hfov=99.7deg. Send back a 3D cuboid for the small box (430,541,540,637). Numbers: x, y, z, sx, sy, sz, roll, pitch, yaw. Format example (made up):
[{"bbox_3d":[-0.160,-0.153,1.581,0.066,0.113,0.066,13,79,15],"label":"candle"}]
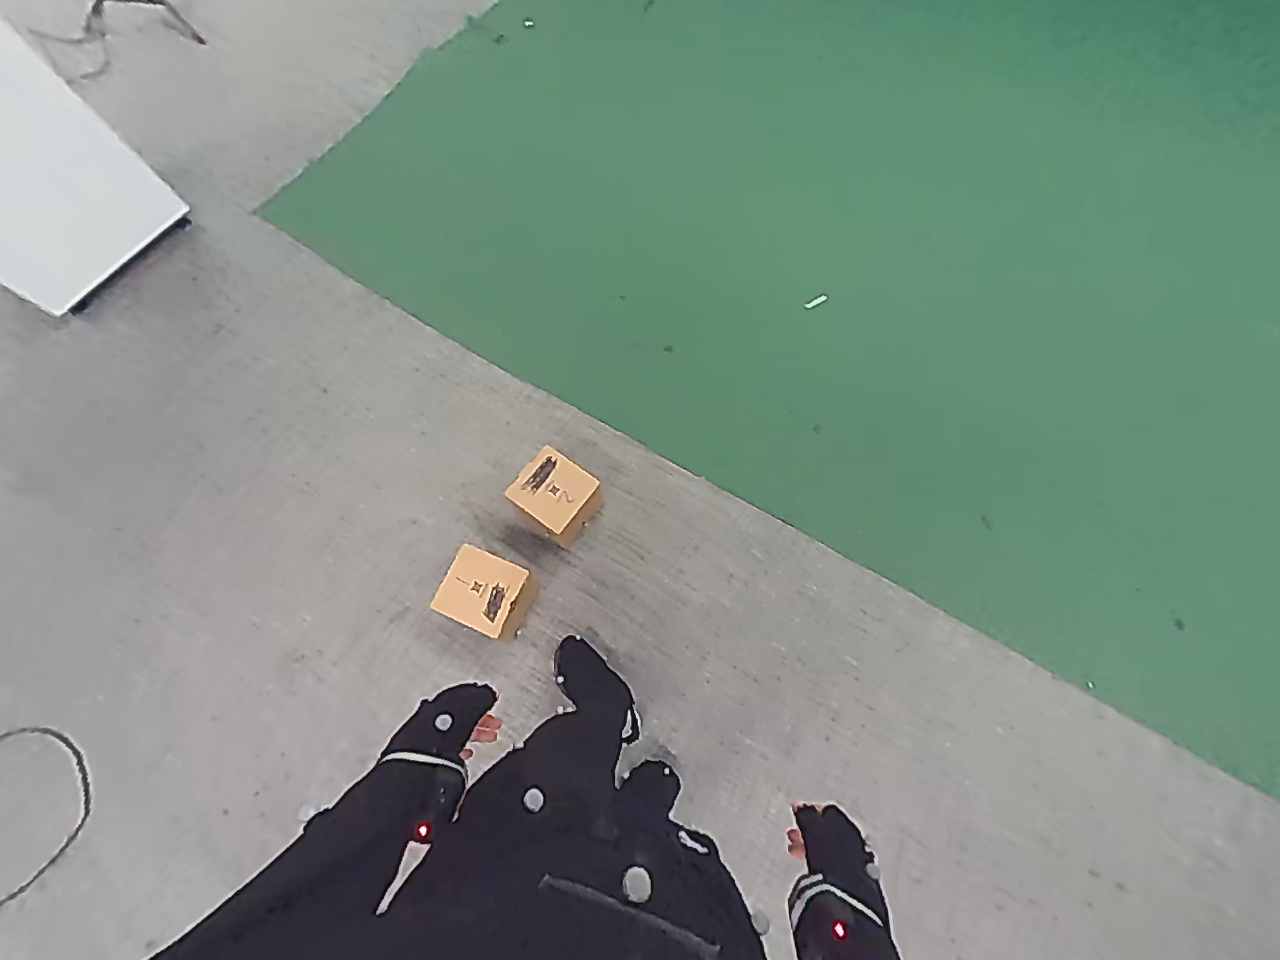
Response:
[{"bbox_3d":[-0.361,0.269,1.300,0.179,0.176,0.168,22,71,9],"label":"small box"}]
